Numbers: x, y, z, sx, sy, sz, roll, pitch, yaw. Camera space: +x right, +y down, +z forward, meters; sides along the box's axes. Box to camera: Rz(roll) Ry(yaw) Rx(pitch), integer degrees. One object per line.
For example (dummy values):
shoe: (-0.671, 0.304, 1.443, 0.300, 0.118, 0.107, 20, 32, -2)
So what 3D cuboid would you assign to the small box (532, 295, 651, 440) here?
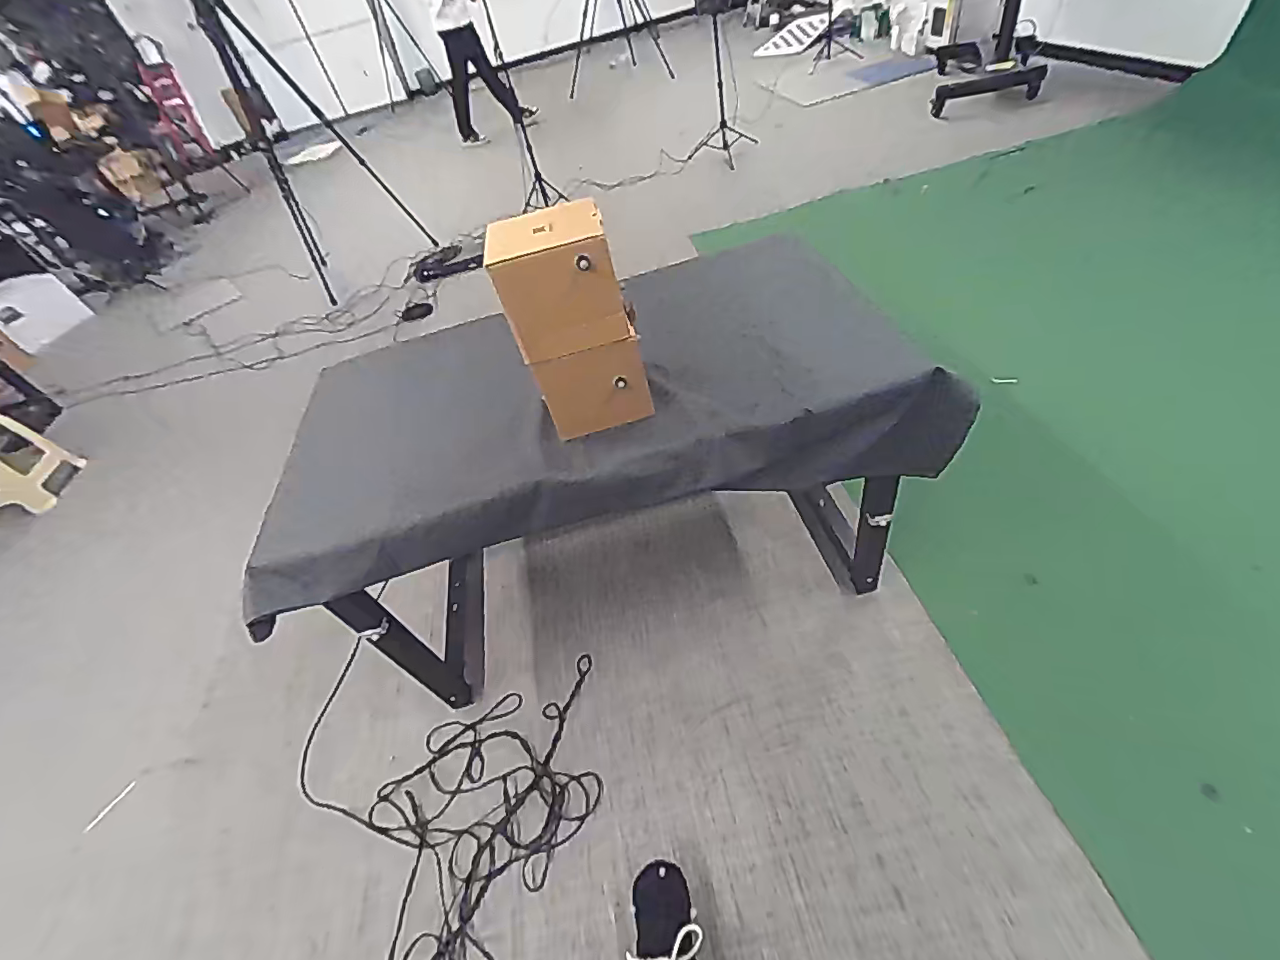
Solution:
small box: (-0.085, -0.200, 0.966, 0.179, 0.176, 0.168, -17, 44, 1)

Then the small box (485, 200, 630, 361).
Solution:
small box: (-0.126, -0.311, 0.854, 0.179, 0.176, 0.168, -15, 44, 1)
